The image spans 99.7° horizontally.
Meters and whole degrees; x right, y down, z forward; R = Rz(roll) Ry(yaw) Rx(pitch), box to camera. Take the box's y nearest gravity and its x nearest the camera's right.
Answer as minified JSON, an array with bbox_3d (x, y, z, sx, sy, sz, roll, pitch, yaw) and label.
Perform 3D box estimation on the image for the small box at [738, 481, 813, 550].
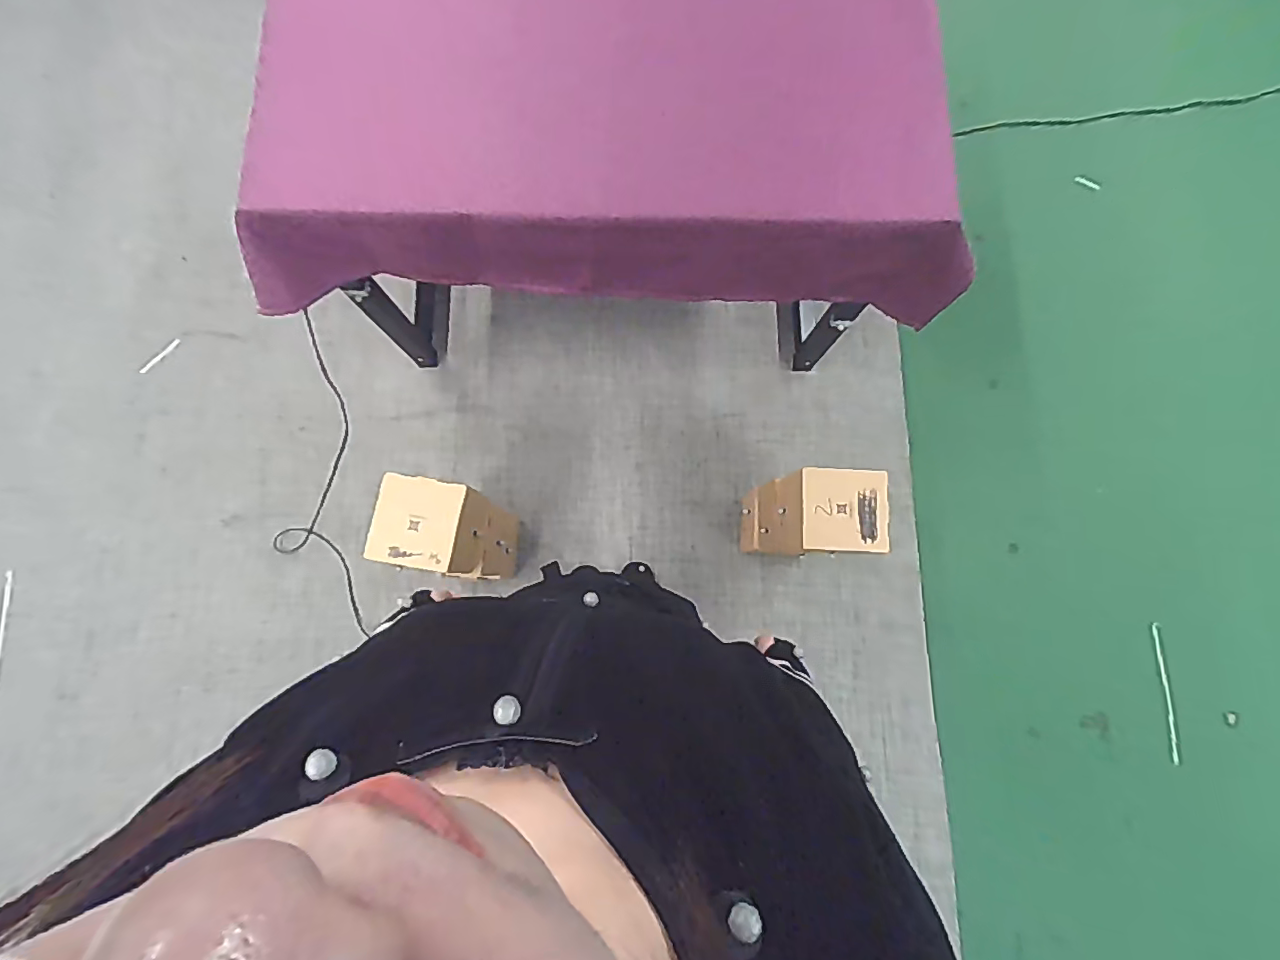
[{"bbox_3d":[0.371,0.102,1.483,0.179,0.176,0.168,4,80,-2],"label":"small box"}]

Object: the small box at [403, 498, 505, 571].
[{"bbox_3d":[-0.435,0.125,1.285,0.179,0.176,0.168,7,81,-1],"label":"small box"}]

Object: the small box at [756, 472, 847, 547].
[{"bbox_3d":[0.385,0.078,1.323,0.179,0.176,0.168,2,81,-3],"label":"small box"}]

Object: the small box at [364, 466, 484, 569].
[{"bbox_3d":[-0.437,0.085,1.125,0.168,0.176,0.179,10,80,0],"label":"small box"}]

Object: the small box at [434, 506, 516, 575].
[{"bbox_3d":[-0.433,0.160,1.447,0.168,0.176,0.179,3,80,-2],"label":"small box"}]
